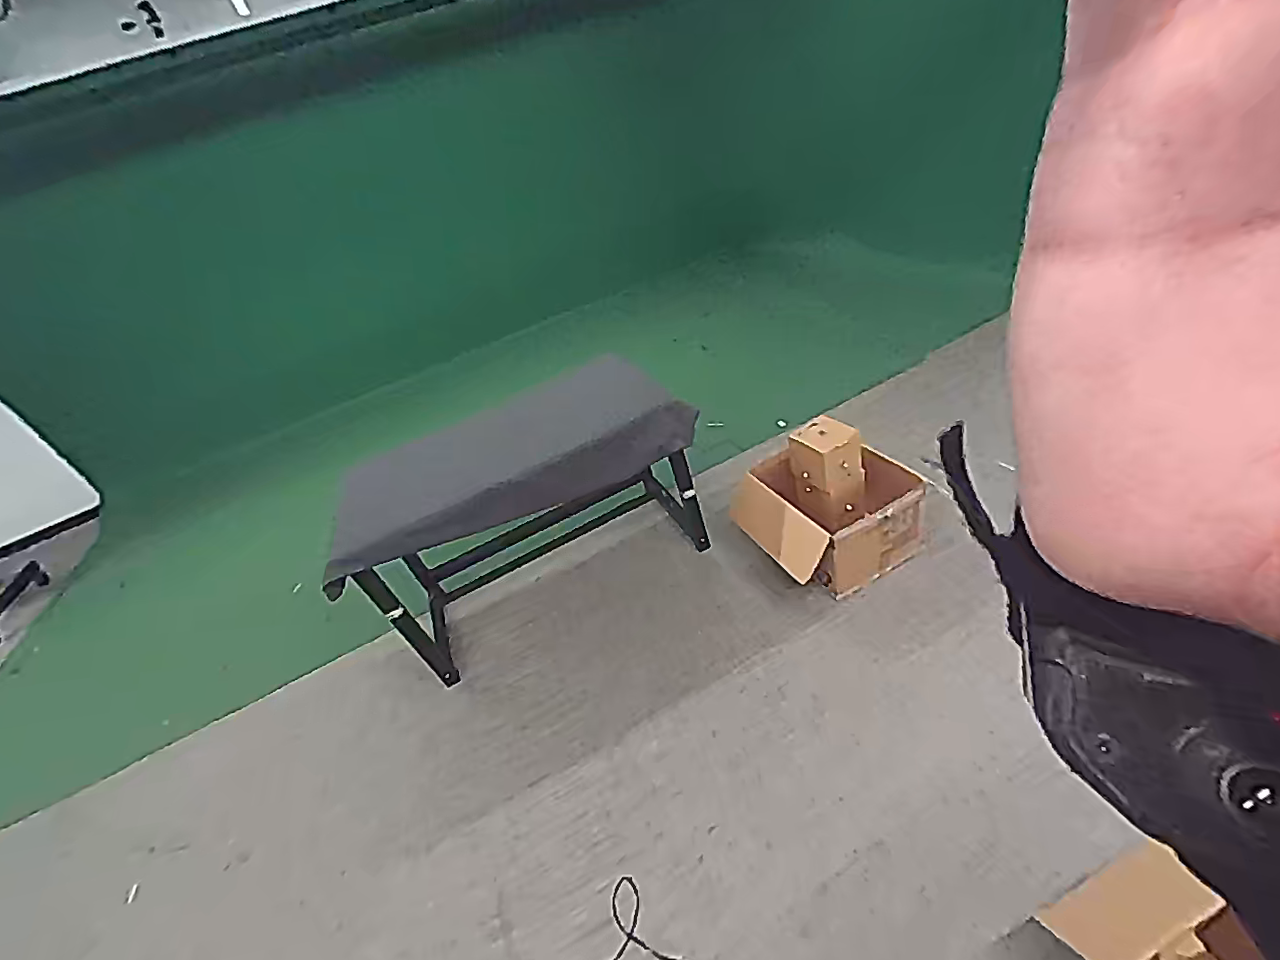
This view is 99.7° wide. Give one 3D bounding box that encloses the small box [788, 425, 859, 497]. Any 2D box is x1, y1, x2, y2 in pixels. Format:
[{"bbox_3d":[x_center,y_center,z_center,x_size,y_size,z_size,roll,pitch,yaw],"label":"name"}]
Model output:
[{"bbox_3d":[0.651,-0.064,1.900,0.168,0.176,0.179,-30,36,-17],"label":"small box"}]
